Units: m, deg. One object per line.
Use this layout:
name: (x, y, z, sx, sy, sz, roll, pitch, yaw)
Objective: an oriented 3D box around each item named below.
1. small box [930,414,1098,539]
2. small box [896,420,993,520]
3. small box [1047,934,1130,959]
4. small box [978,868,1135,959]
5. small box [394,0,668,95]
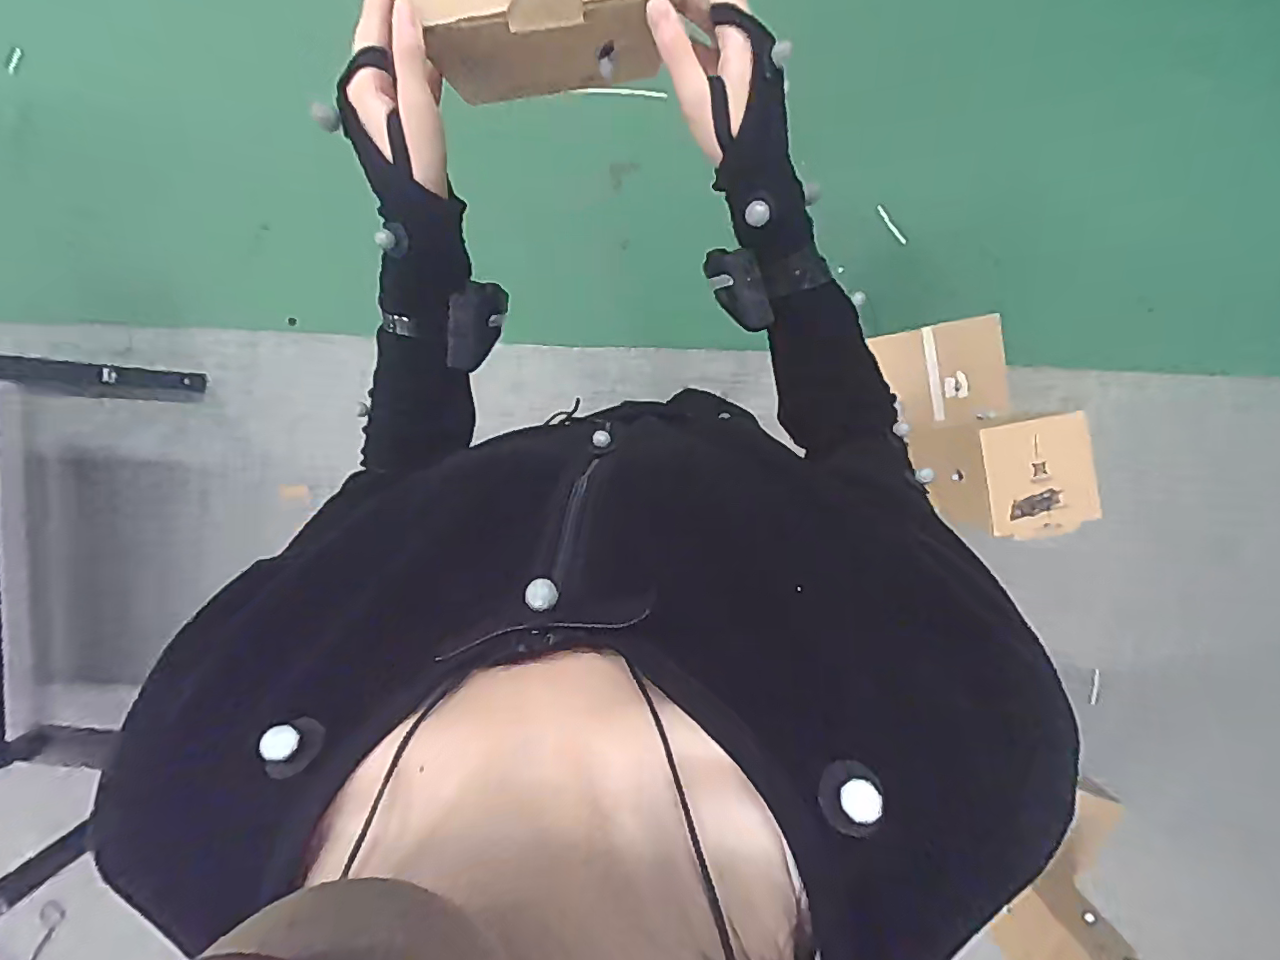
small box: (0.622, -0.011, 0.919, 0.168, 0.176, 0.179, -10, 93, 4)
small box: (0.631, -0.027, 1.083, 0.168, 0.176, 0.179, -6, 95, 3)
small box: (0.884, 1.021, 1.013, 0.168, 0.176, 0.179, 23, 95, -2)
small box: (0.891, 0.996, 1.173, 0.179, 0.176, 0.168, 22, 96, -1)
small box: (-0.076, -0.381, 0.359, 0.168, 0.176, 0.179, -9, 112, -1)
